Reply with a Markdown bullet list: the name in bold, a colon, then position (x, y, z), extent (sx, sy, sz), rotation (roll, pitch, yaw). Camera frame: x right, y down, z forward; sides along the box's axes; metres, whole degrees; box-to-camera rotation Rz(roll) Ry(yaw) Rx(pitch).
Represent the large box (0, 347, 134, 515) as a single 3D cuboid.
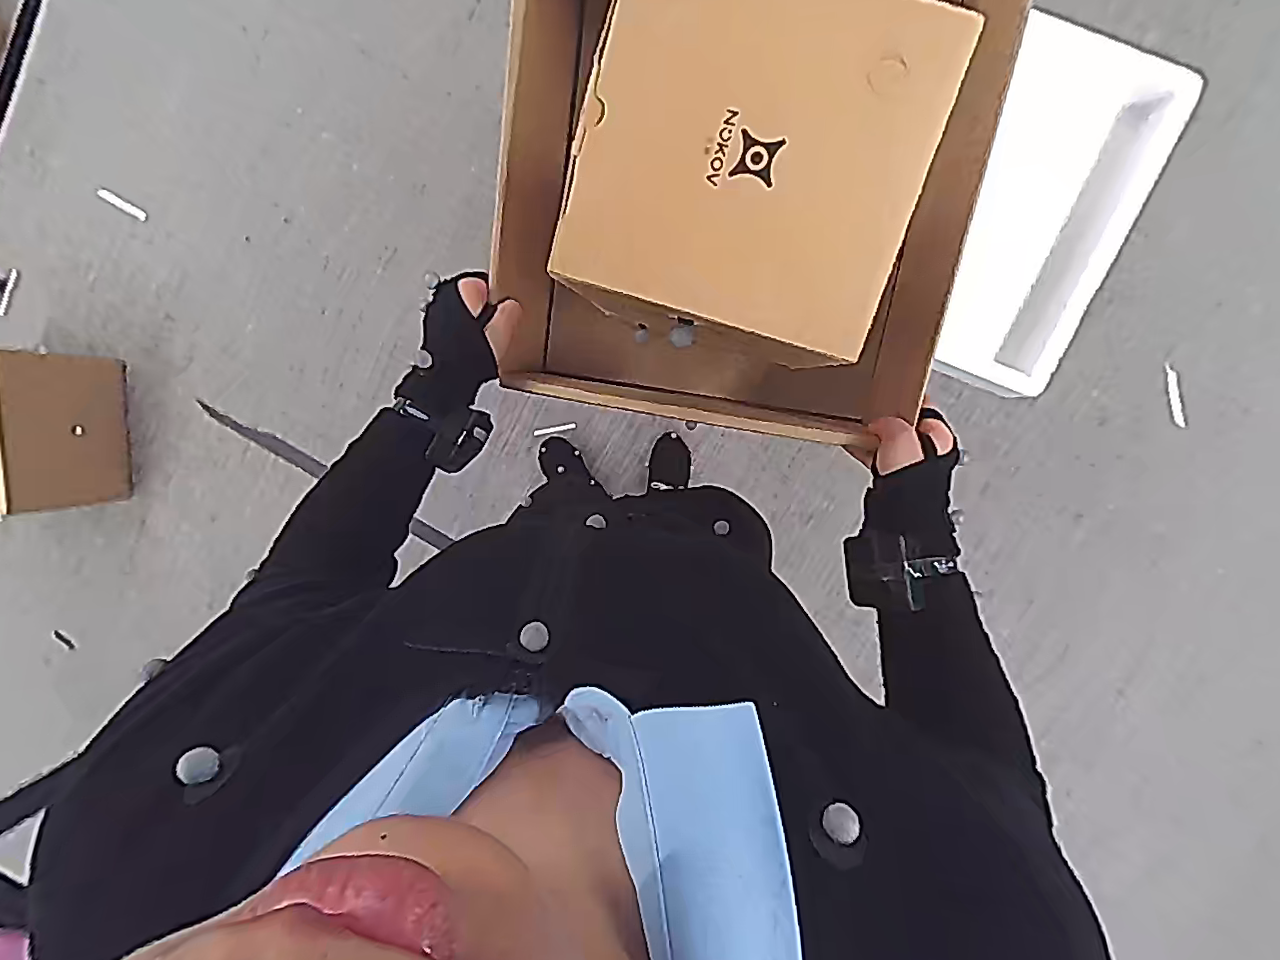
- **large box**: position (-1.643, -0.138, 1.429), extent (0.320, 0.320, 0.408), rotation (3, 98, 5)
